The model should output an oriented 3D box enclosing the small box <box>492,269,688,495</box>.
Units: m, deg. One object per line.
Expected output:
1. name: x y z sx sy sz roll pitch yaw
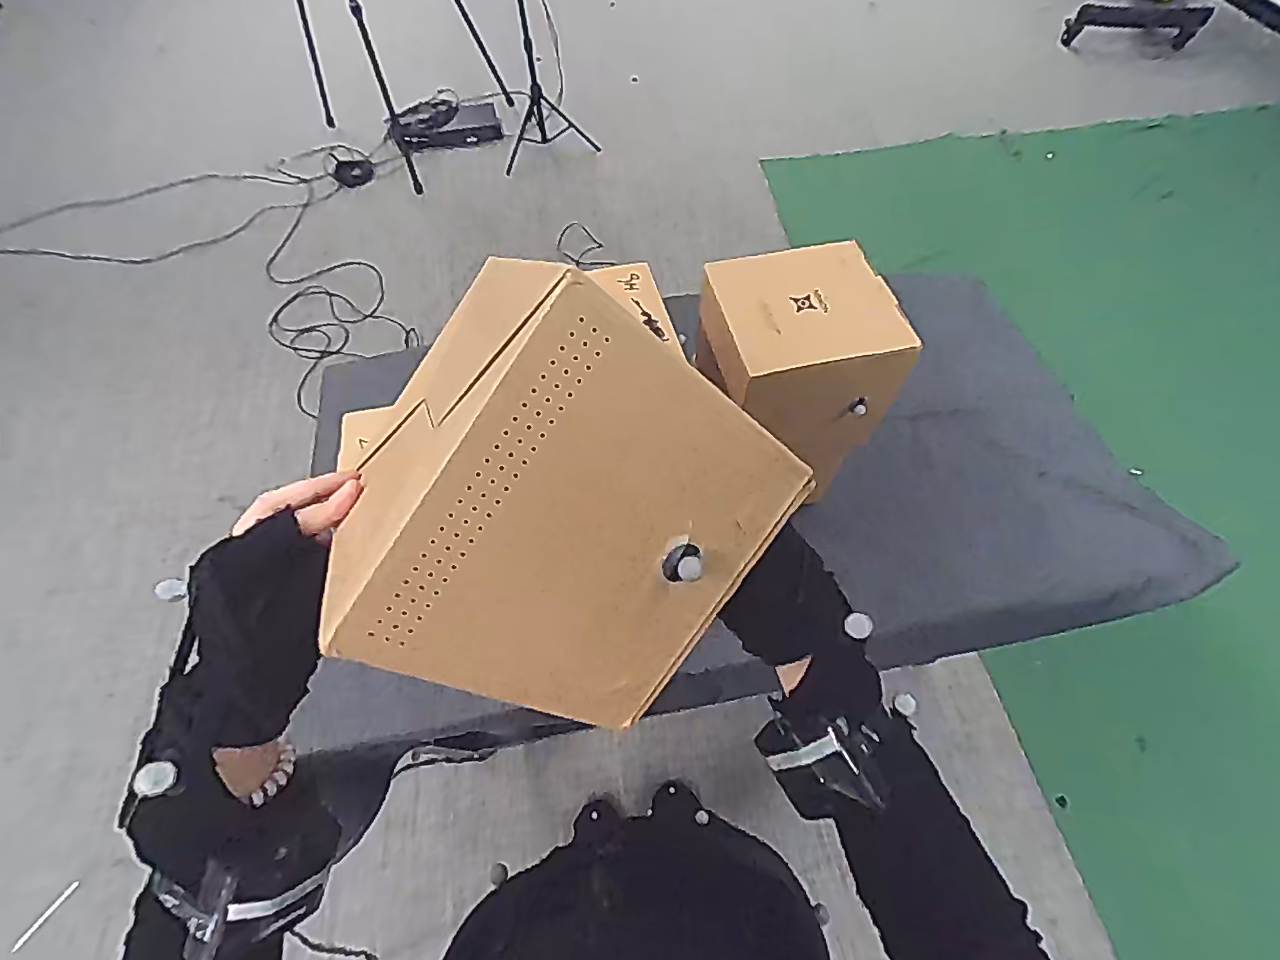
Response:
1. small box: -0.051 -0.102 0.612 0.179 0.176 0.168 -14 62 -5
